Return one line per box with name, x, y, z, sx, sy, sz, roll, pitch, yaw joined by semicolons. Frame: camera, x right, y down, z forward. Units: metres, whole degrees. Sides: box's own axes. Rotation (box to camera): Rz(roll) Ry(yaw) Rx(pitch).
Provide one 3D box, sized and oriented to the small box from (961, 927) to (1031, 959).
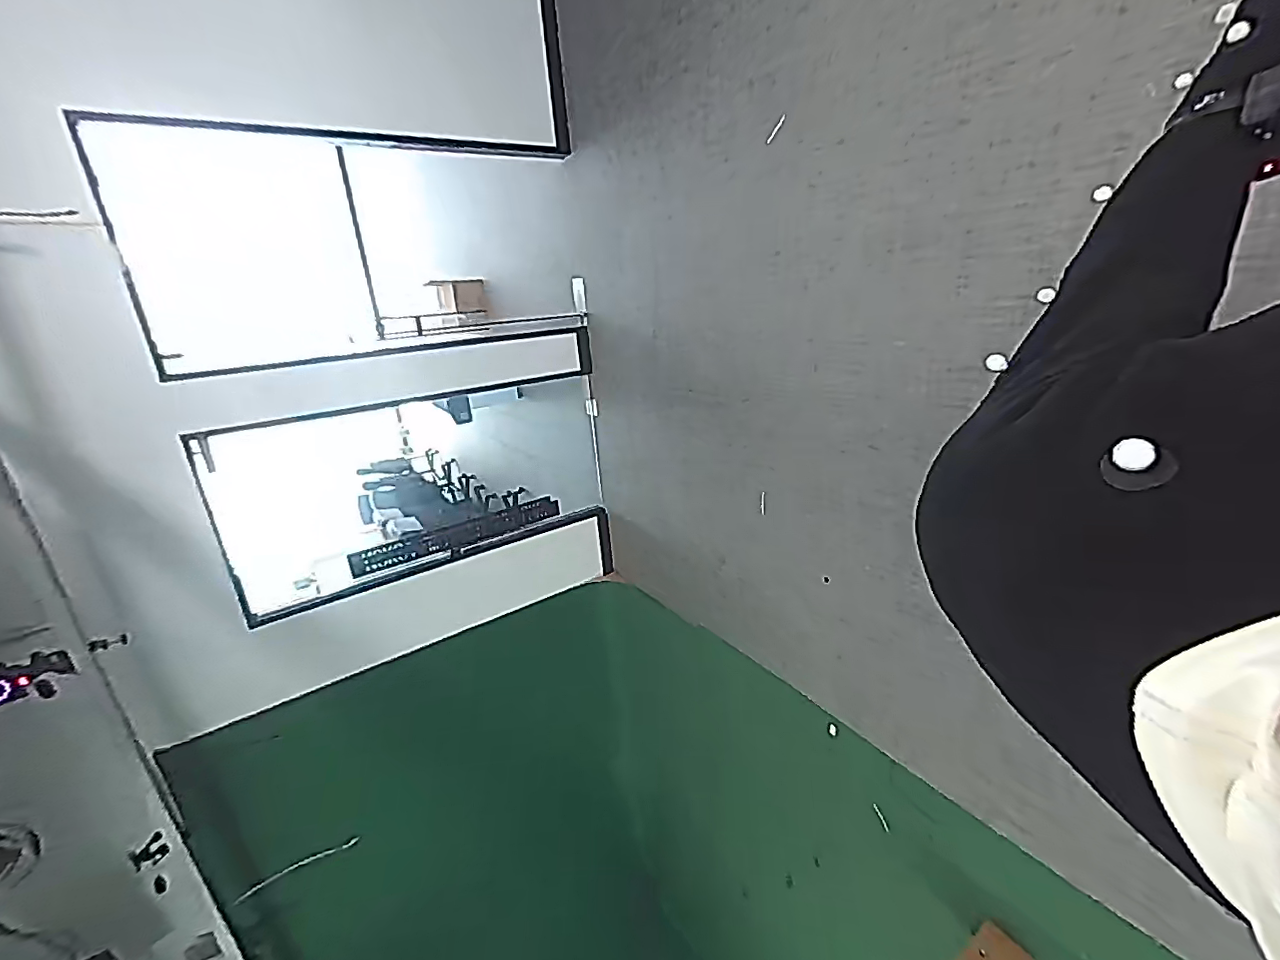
small box;1.229;1.696;1.859;0.179;0.176;0.168;27;126;52
